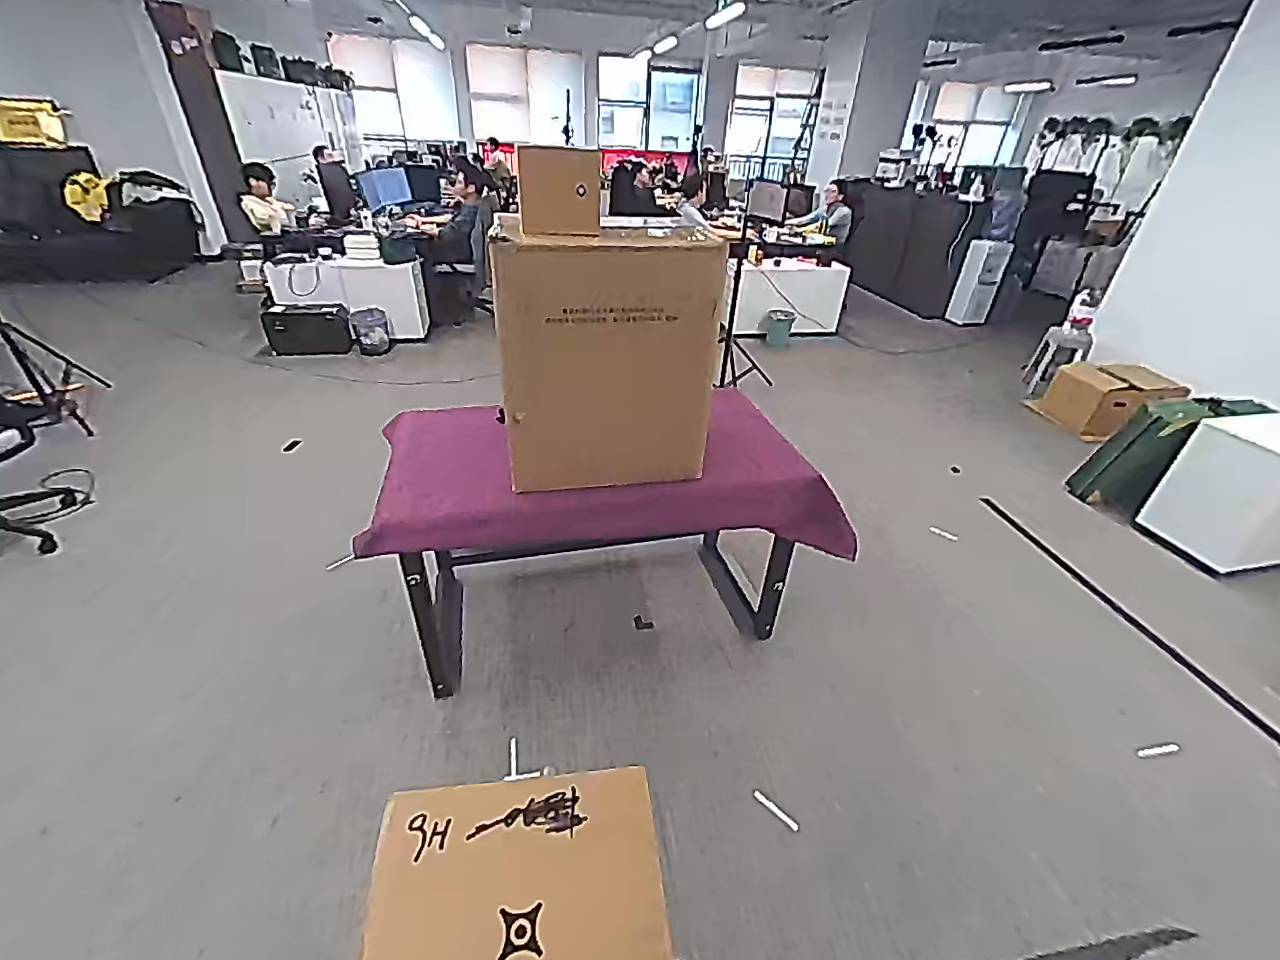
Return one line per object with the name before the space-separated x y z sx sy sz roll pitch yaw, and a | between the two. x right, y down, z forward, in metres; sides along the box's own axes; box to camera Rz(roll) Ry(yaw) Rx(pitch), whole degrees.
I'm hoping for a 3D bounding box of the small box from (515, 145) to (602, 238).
small box | -0.186 -0.648 1.217 0.179 0.176 0.168 -5 33 -12
